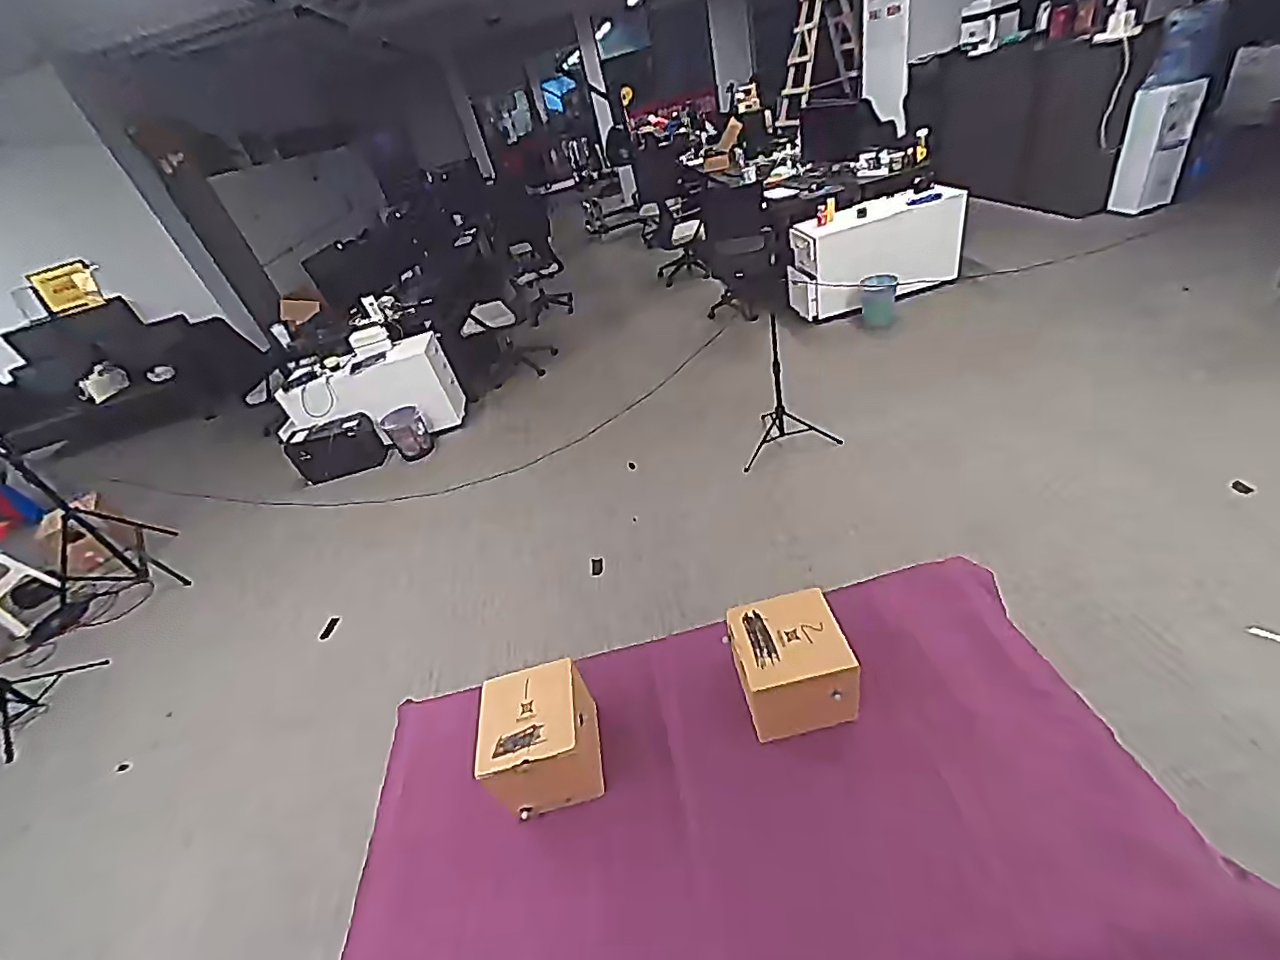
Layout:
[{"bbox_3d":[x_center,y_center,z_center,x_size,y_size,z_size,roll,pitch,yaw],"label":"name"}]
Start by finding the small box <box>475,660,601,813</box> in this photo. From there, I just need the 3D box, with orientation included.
[{"bbox_3d":[-0.173,0.455,0.951,0.168,0.176,0.179,-16,36,0],"label":"small box"}]
